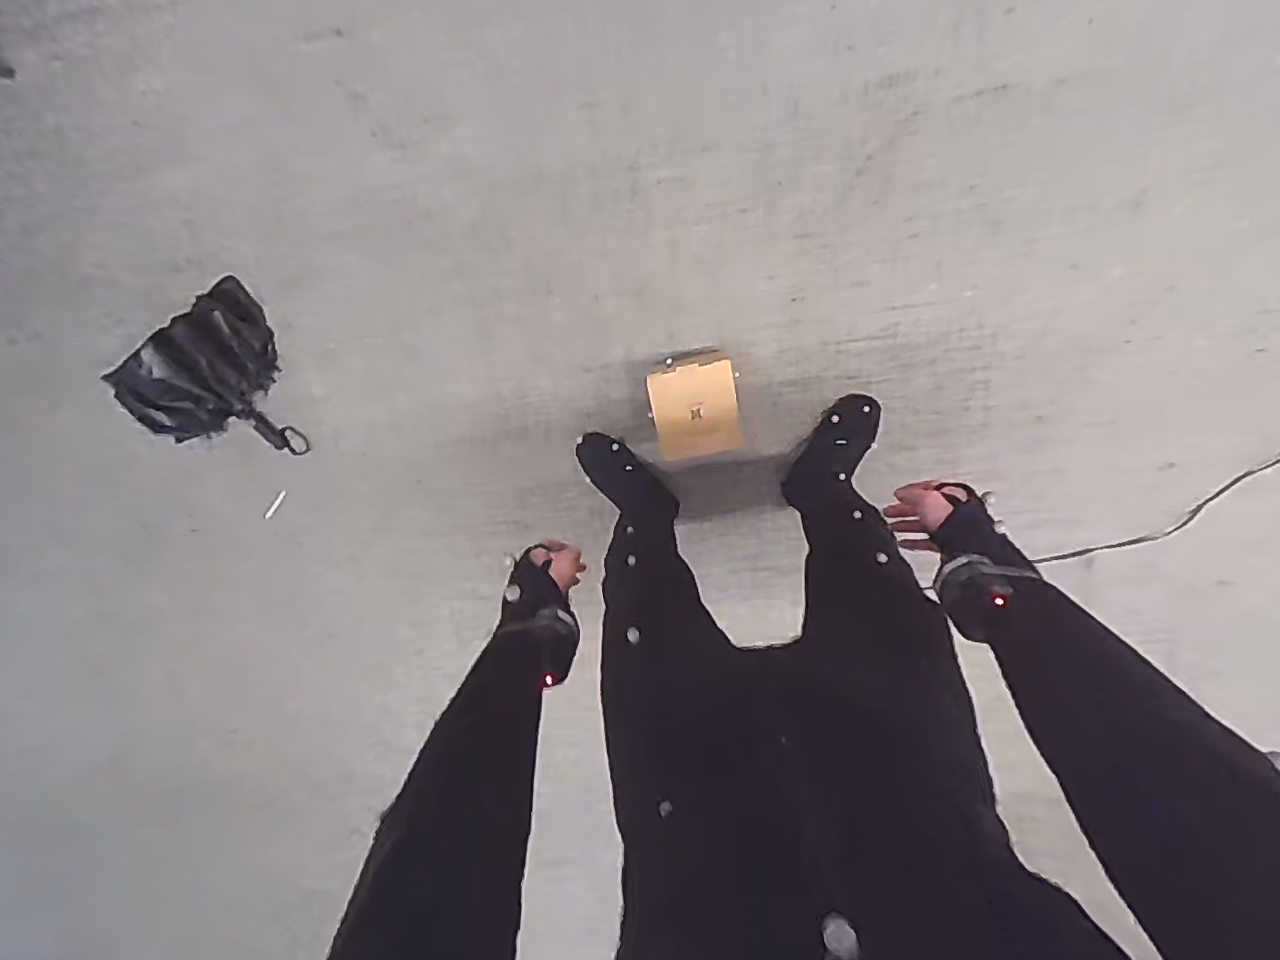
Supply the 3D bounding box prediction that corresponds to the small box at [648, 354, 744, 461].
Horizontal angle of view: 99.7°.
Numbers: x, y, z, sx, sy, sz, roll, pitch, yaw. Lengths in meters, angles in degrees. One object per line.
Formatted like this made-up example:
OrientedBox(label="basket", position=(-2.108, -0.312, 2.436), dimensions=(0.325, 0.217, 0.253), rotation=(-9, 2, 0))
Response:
OrientedBox(label="small box", position=(0.117, -0.157, 1.120), dimensions=(0.168, 0.176, 0.179), rotation=(-10, 109, 10))
